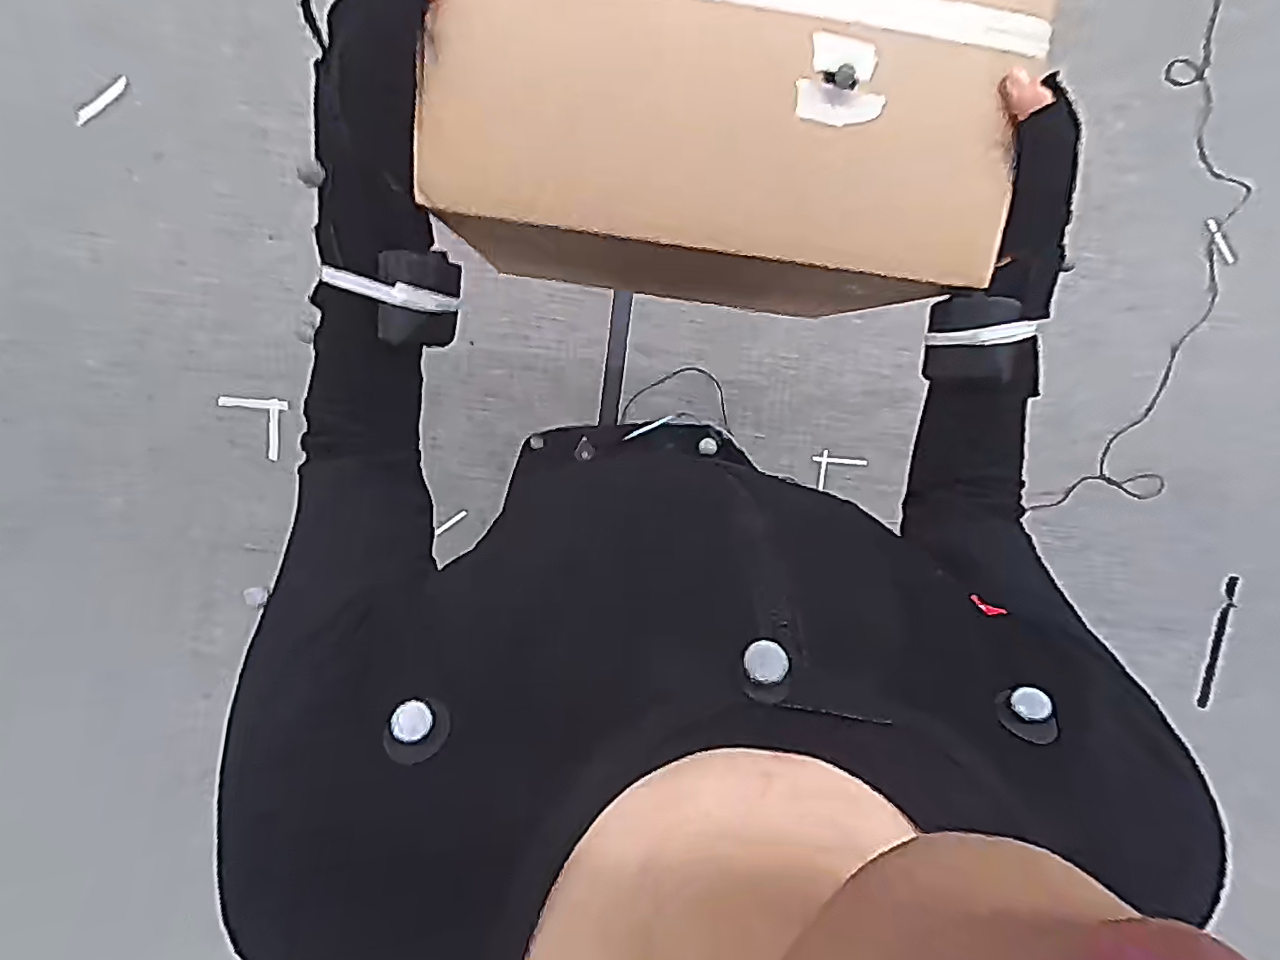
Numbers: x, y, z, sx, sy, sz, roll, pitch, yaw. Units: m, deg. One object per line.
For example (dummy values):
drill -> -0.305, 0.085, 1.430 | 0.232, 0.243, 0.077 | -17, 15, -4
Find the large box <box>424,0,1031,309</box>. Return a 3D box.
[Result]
large box -> 0.050, -0.349, 0.497 | 0.408, 0.320, 0.320 | 6, 104, -7
